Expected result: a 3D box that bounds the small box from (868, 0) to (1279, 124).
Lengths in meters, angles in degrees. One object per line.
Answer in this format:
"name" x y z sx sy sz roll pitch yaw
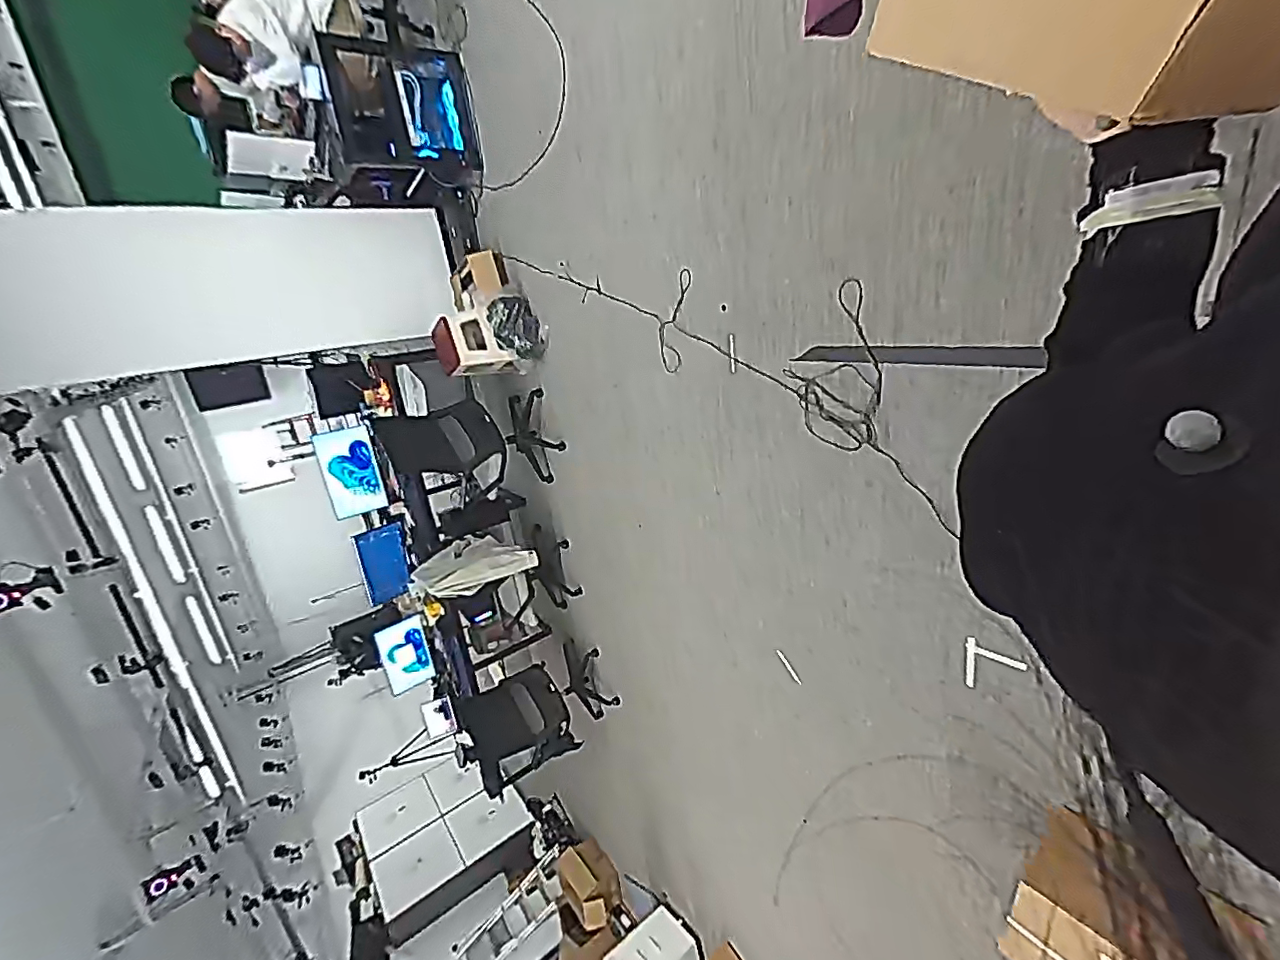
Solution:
"small box" 0.266 -0.306 0.279 0.179 0.176 0.168 54 152 36
